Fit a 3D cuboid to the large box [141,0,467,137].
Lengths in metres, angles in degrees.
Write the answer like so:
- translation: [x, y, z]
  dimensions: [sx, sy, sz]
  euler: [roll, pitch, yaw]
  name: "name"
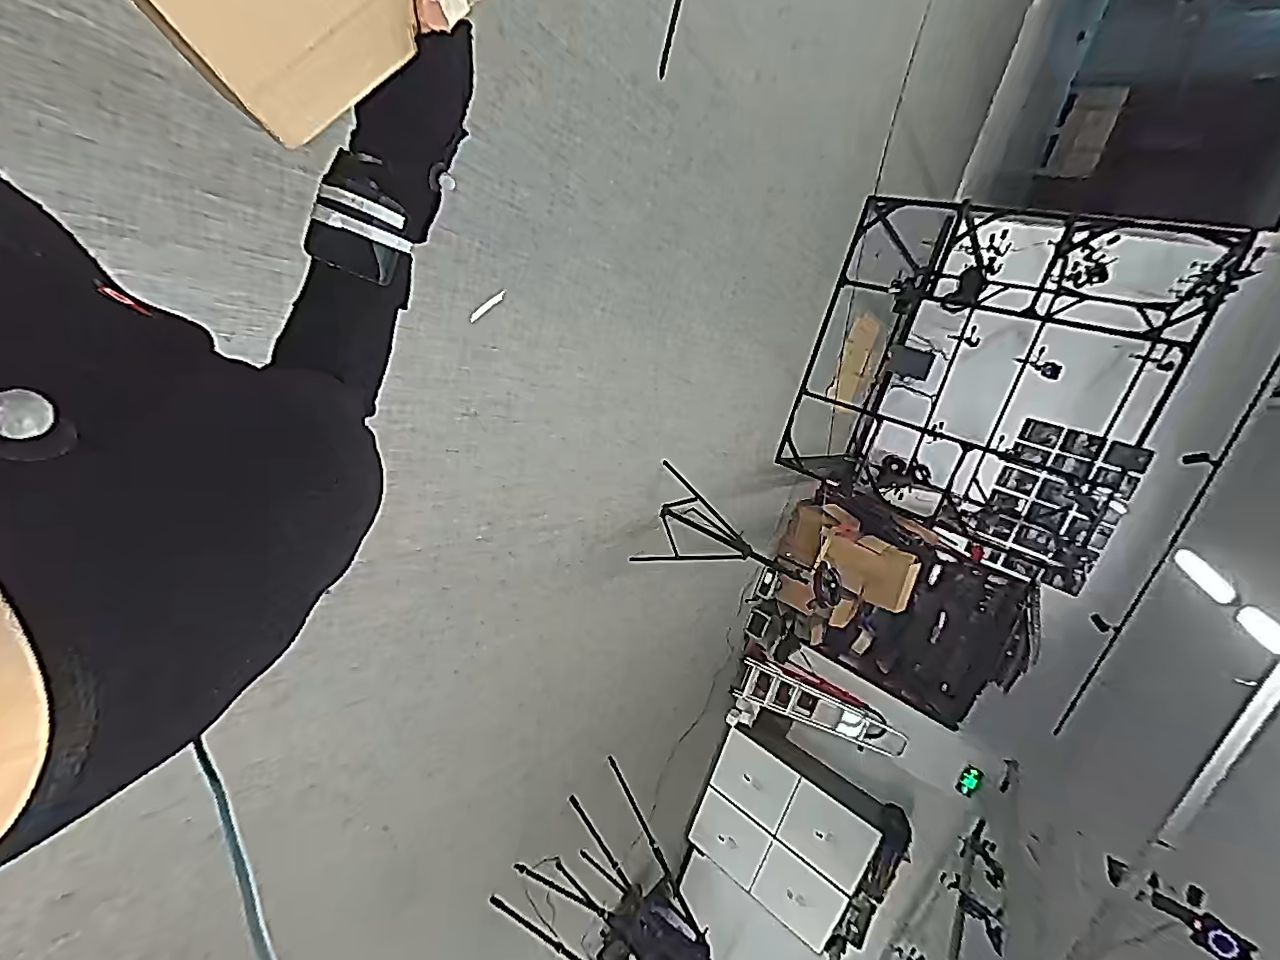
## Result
- translation: [-0.304, -0.521, 0.333]
  dimensions: [0.320, 0.320, 0.408]
  euler: [-44, 143, -5]
  name: "large box"
